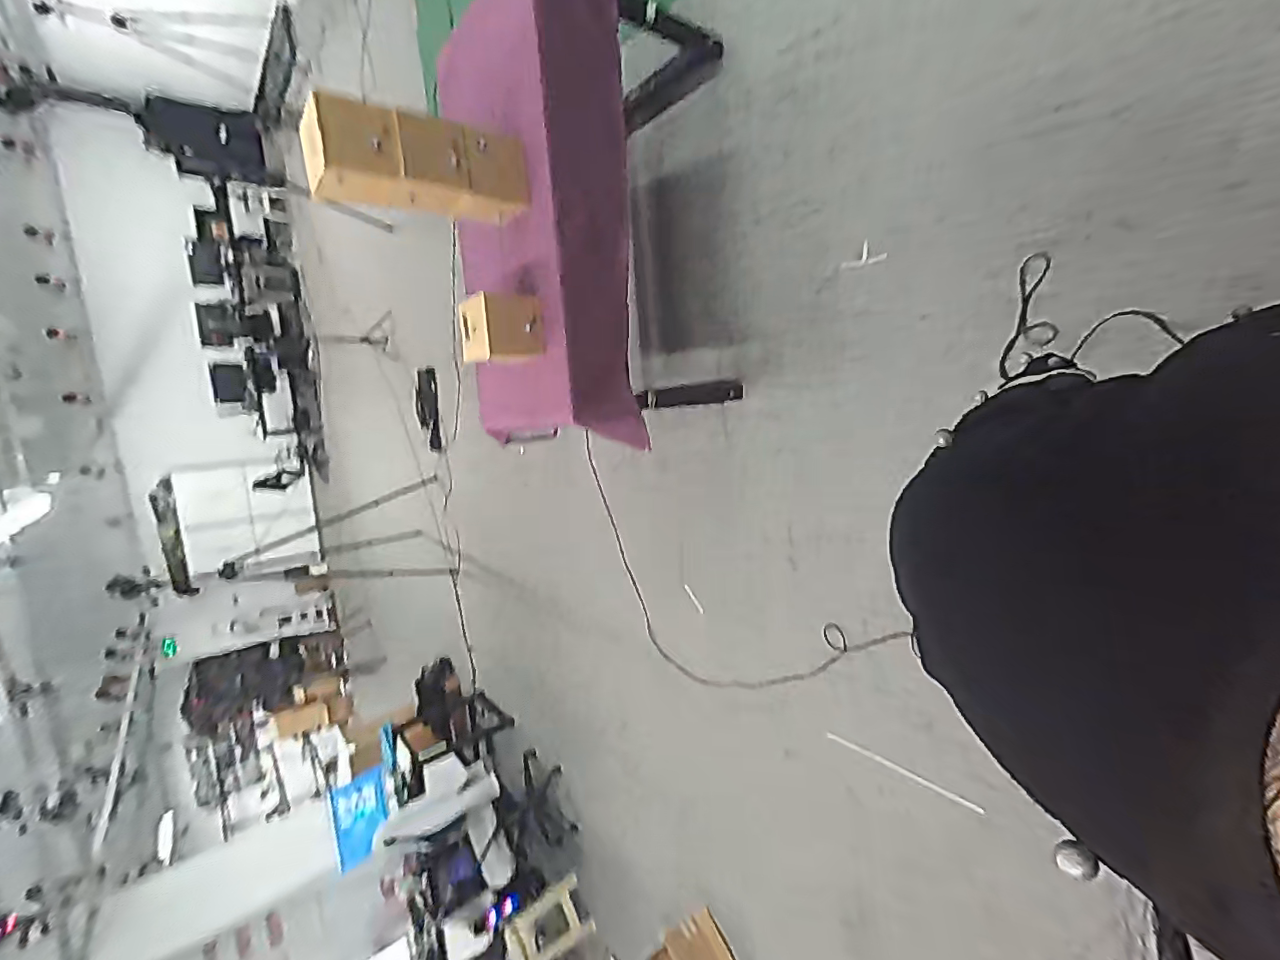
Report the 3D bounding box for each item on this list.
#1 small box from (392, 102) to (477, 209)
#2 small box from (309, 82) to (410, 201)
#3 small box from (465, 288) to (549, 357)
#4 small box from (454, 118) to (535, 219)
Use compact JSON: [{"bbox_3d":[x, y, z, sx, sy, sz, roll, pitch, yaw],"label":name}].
[{"bbox_3d":[-0.529,-0.806,1.366,0.179,0.176,0.168,3,102,50],"label":"small box"},{"bbox_3d":[-0.658,-0.779,1.270,0.179,0.176,0.168,0,99,50],"label":"small box"},{"bbox_3d":[-0.375,-0.437,1.525,0.179,0.176,0.168,7,104,49],"label":"small box"},{"bbox_3d":[-0.402,-0.831,1.464,0.168,0.176,0.179,6,103,51],"label":"small box"}]
